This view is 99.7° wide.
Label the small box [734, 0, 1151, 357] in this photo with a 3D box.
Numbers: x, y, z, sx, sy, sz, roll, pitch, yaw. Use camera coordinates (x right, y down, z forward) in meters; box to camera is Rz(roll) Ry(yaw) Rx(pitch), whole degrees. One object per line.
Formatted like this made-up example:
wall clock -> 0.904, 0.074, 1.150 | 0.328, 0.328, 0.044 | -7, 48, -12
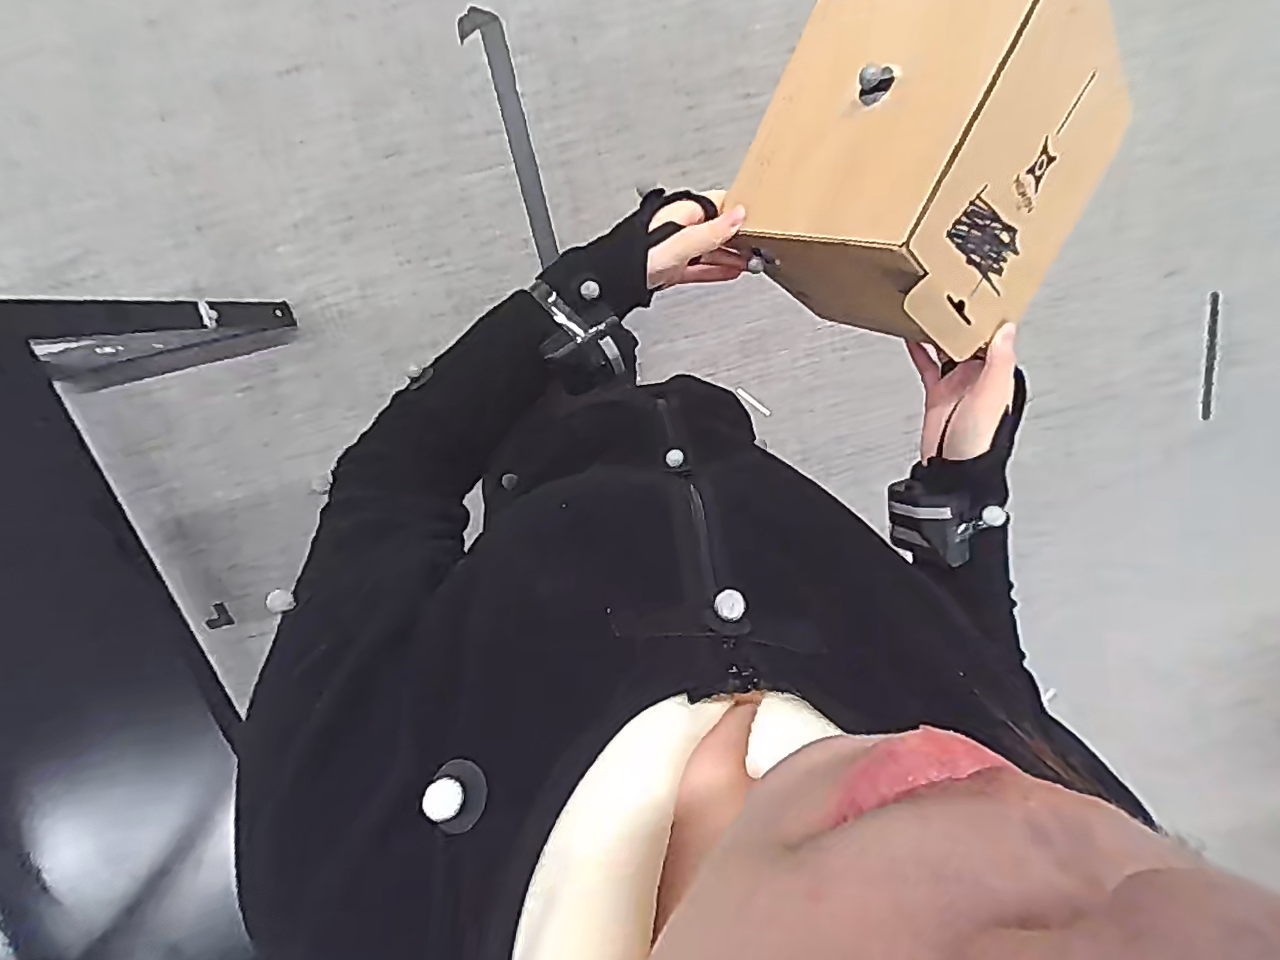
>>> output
small box -> 0.193, -0.212, 0.375 | 0.168, 0.176, 0.179 | 17, 103, -40
